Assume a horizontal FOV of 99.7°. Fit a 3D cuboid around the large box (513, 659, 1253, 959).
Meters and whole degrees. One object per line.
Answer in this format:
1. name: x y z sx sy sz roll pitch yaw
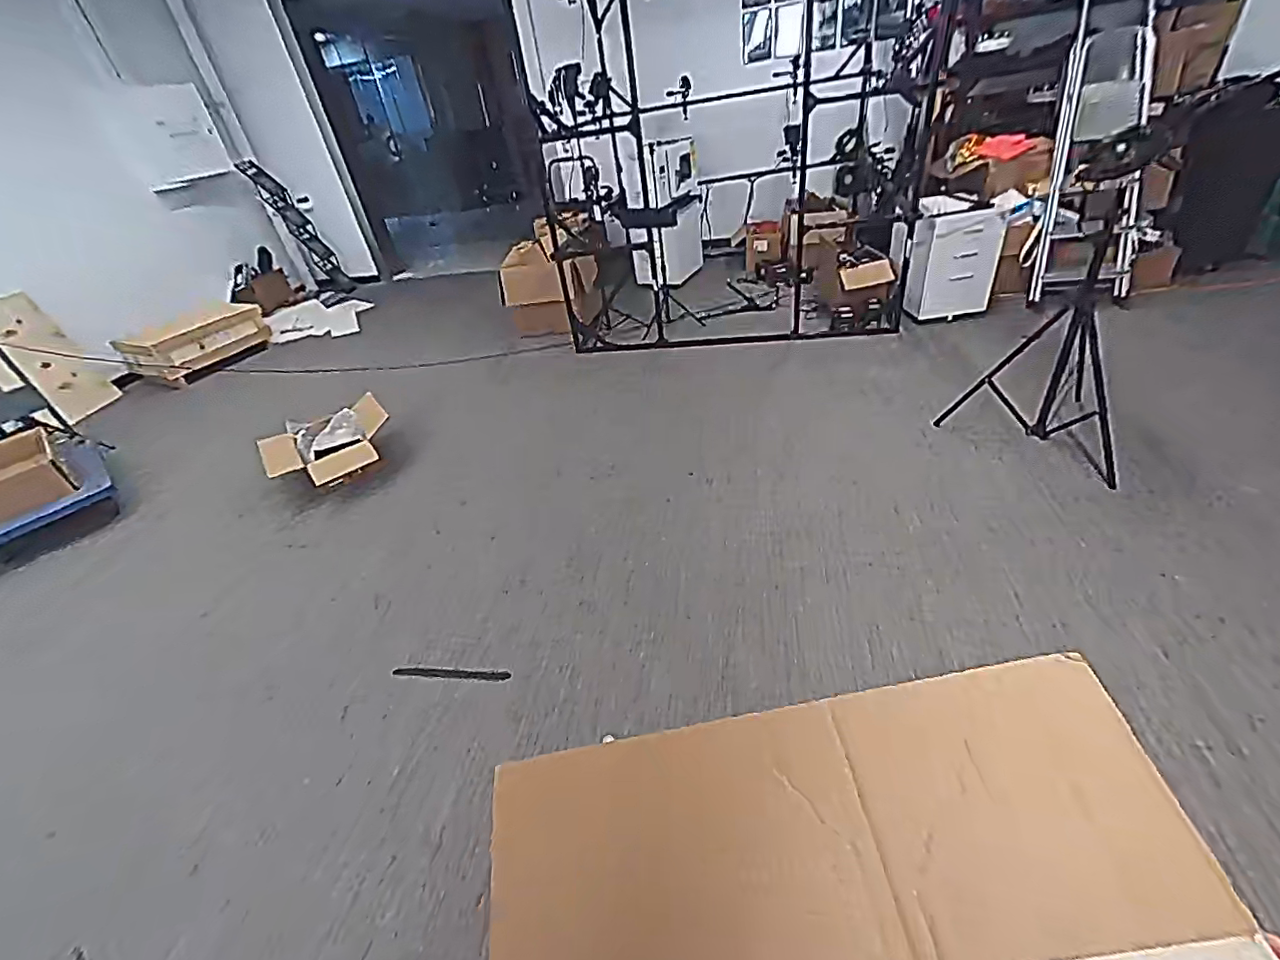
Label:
1. large box: 0.150 0.374 0.410 0.408 0.320 0.320 -14 54 5
